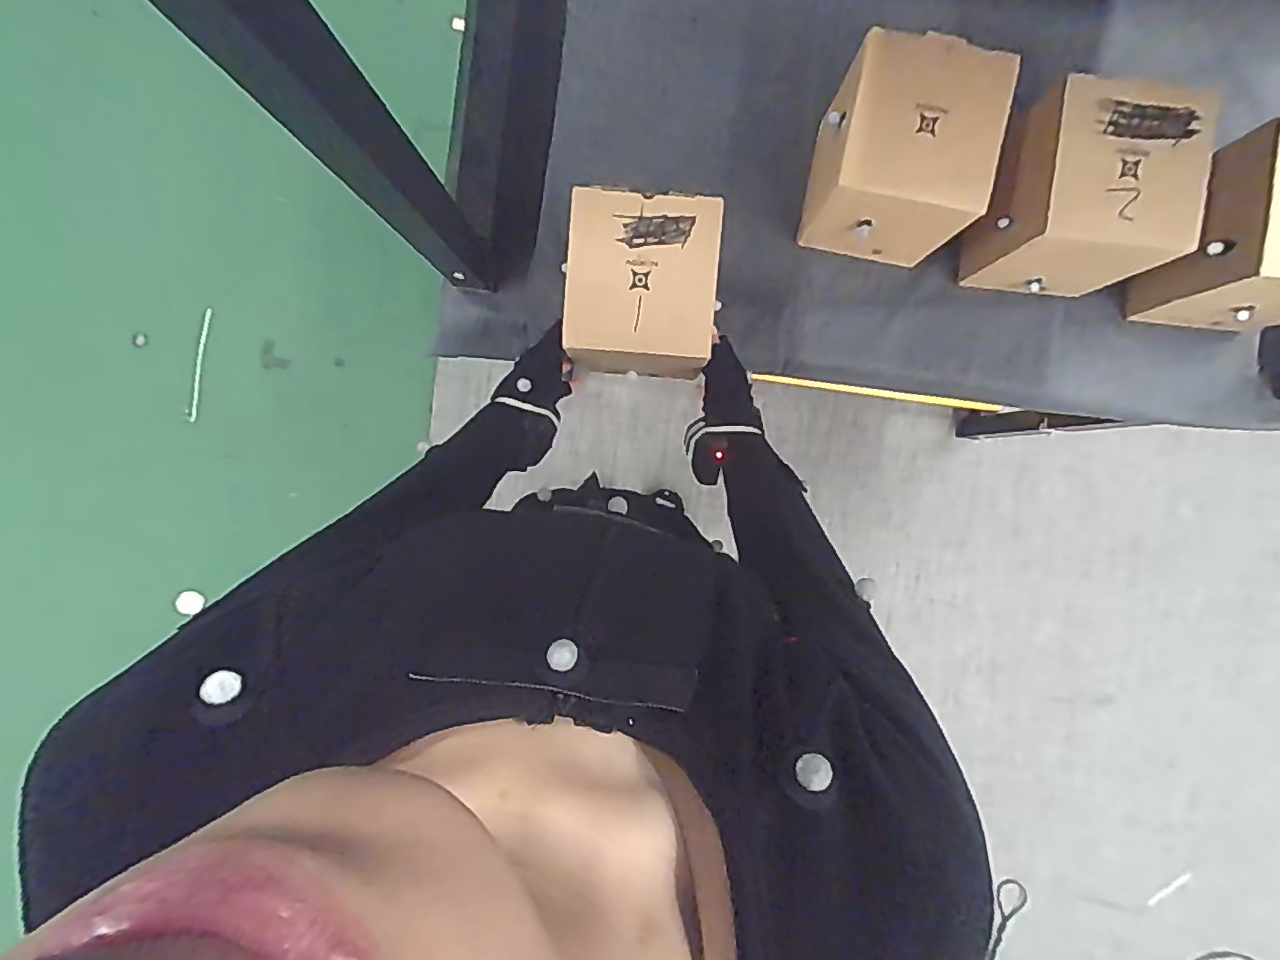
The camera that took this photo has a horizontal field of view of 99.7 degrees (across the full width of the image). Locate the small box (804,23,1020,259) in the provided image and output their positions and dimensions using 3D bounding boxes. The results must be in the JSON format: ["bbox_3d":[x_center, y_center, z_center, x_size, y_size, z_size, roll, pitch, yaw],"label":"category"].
[{"bbox_3d":[0.314,-0.396,0.665,0.168,0.176,0.179,11,92,0],"label":"small box"}]

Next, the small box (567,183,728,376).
[{"bbox_3d":[0.007,-0.234,0.670,0.168,0.176,0.179,5,93,0],"label":"small box"}]

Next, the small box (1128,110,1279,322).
[{"bbox_3d":[0.753,-0.303,0.658,0.168,0.176,0.179,6,91,0],"label":"small box"}]
